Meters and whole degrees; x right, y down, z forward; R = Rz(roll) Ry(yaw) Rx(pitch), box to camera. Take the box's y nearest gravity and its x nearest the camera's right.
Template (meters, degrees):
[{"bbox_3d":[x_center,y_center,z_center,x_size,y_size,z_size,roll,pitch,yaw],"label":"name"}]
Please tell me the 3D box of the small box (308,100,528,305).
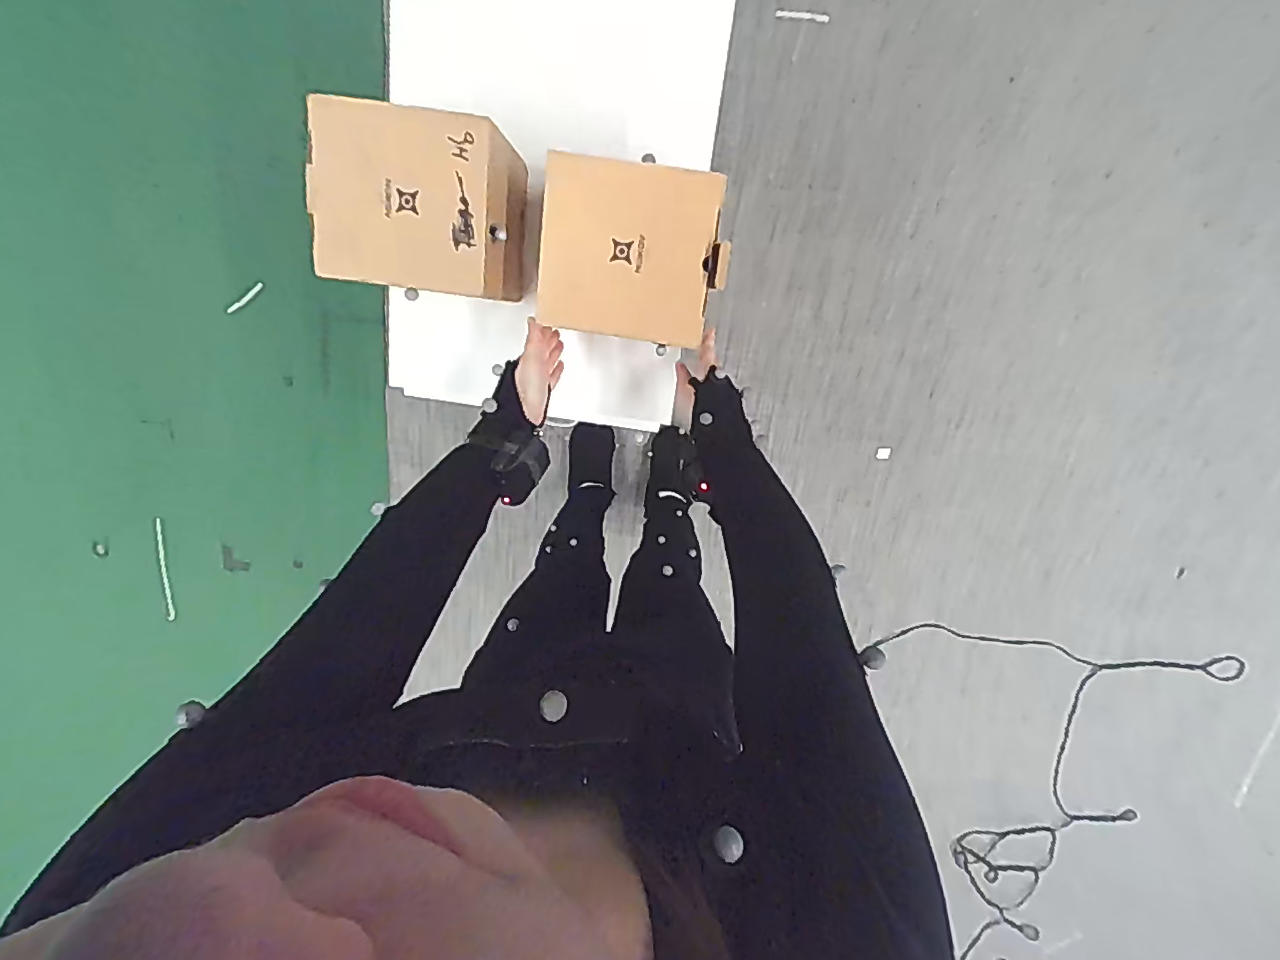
[{"bbox_3d":[-0.237,-0.294,0.610,0.179,0.176,0.168,7,107,-1],"label":"small box"}]
